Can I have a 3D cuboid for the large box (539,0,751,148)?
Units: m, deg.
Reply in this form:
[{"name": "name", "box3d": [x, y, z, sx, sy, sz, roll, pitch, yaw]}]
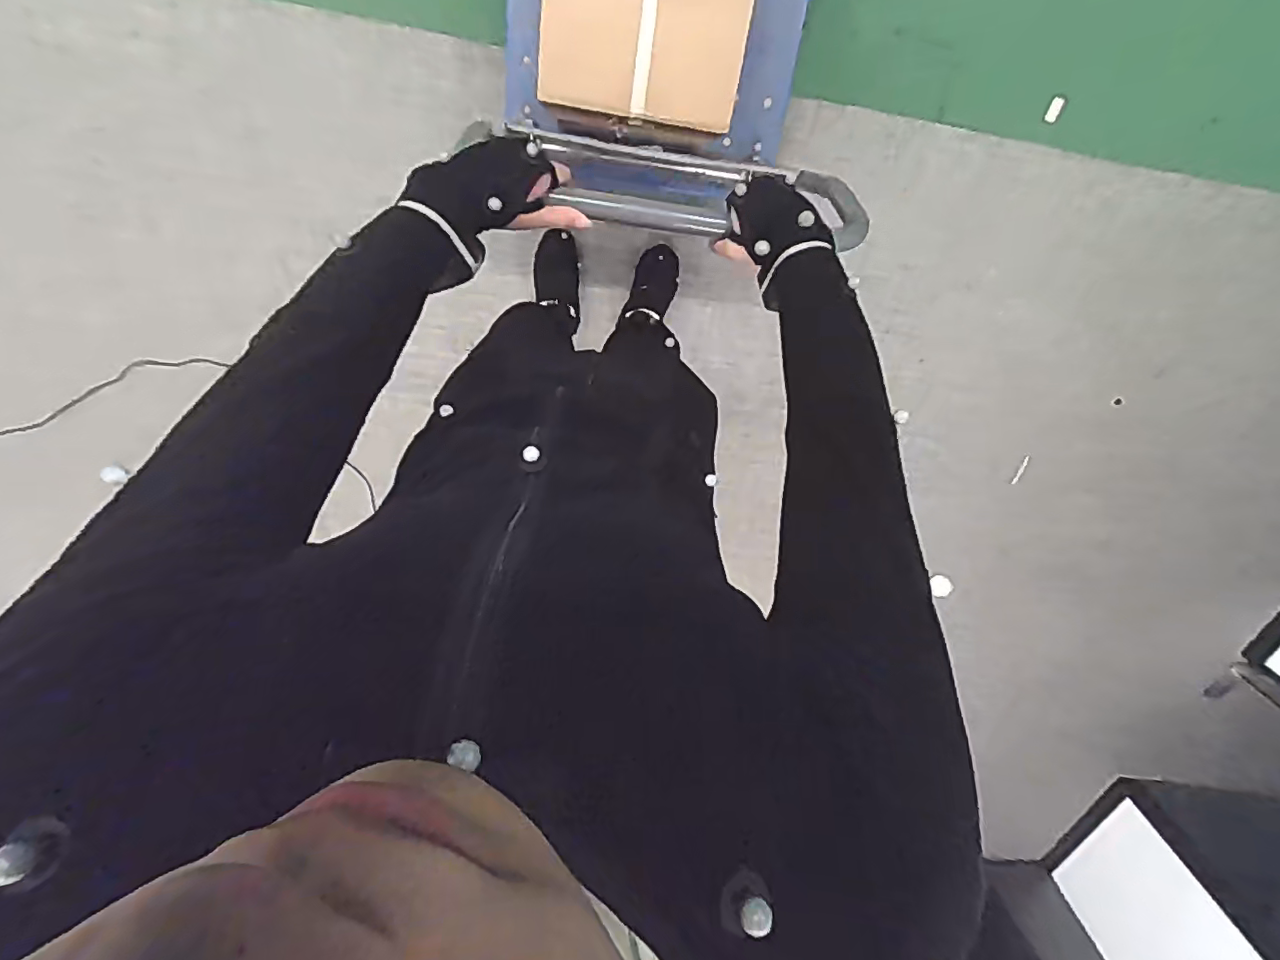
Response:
[{"name": "large box", "box3d": [0.011, -0.824, 0.915, 0.320, 0.320, 0.408, 6, 118, -7]}]
